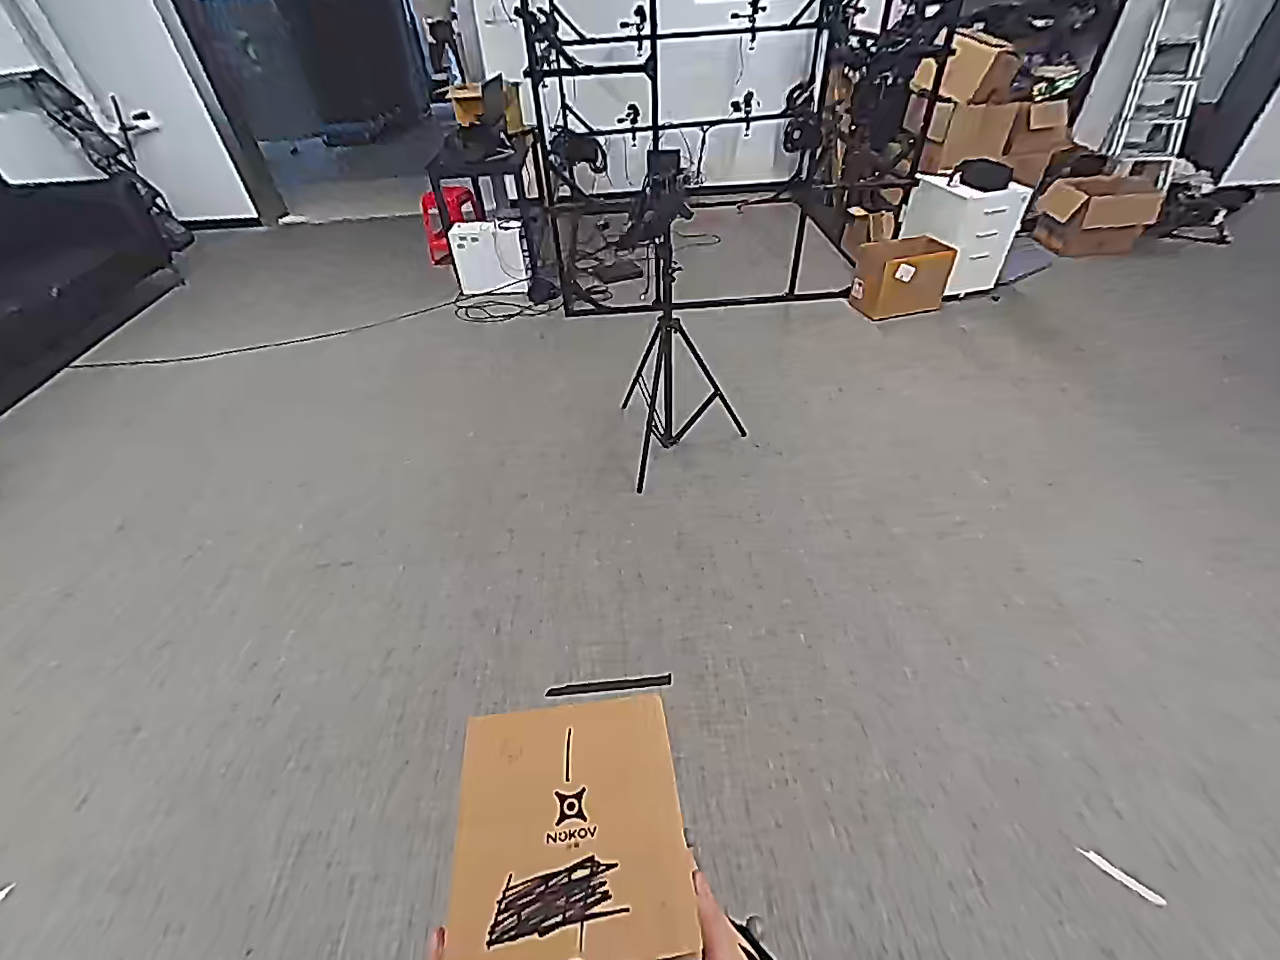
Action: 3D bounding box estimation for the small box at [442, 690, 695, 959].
[{"bbox_3d":[-0.052,0.305,0.452,0.168,0.176,0.179,-5,42,-6],"label":"small box"}]
